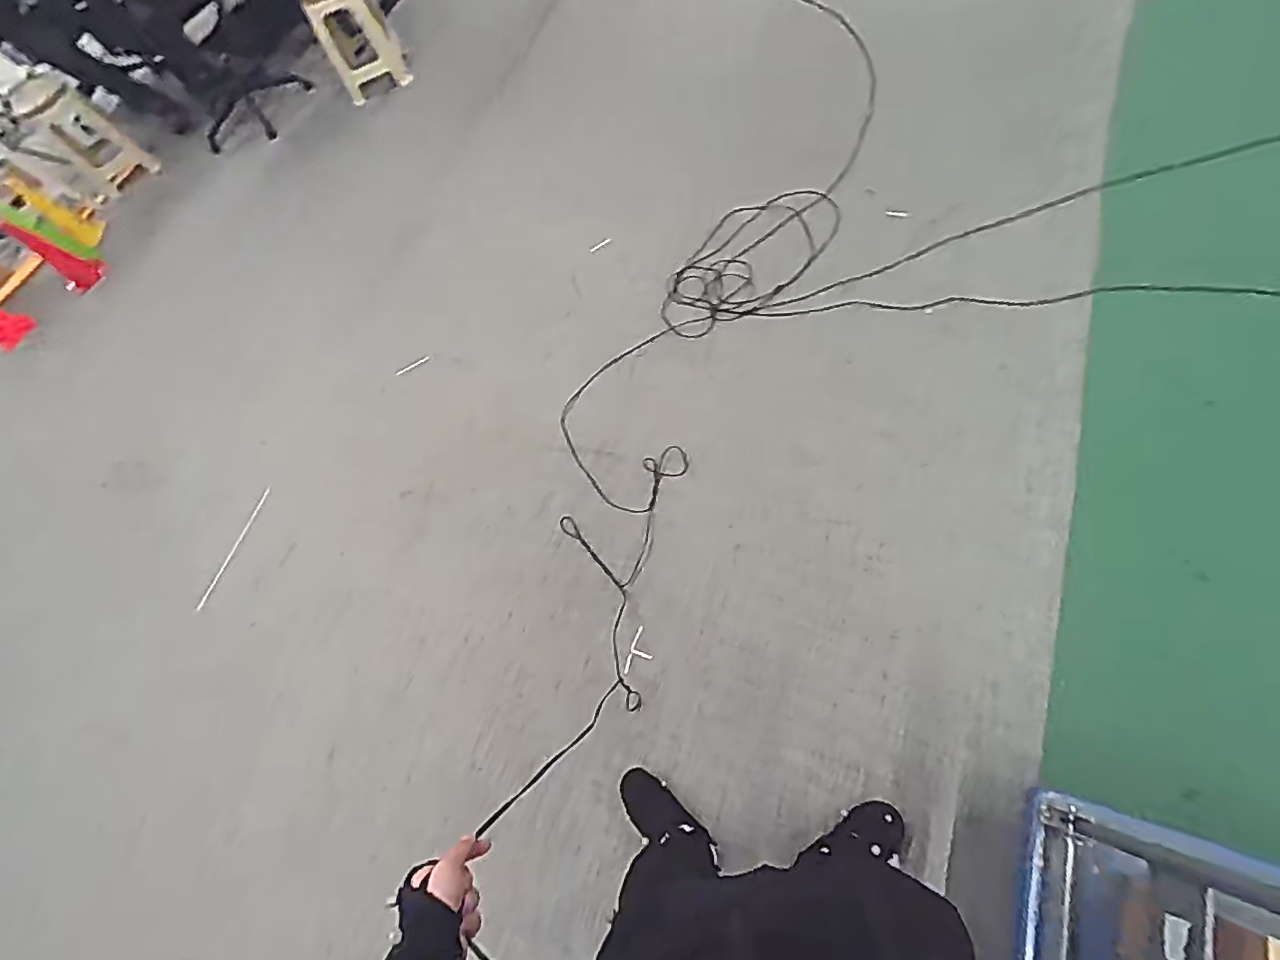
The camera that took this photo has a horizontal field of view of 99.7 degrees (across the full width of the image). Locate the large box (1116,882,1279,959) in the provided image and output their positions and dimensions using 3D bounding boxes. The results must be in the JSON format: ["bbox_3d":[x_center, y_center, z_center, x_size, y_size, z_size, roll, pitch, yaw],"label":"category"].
[{"bbox_3d":[0.989,0.858,0.758,0.408,0.320,0.320,16,72,17],"label":"large box"}]
